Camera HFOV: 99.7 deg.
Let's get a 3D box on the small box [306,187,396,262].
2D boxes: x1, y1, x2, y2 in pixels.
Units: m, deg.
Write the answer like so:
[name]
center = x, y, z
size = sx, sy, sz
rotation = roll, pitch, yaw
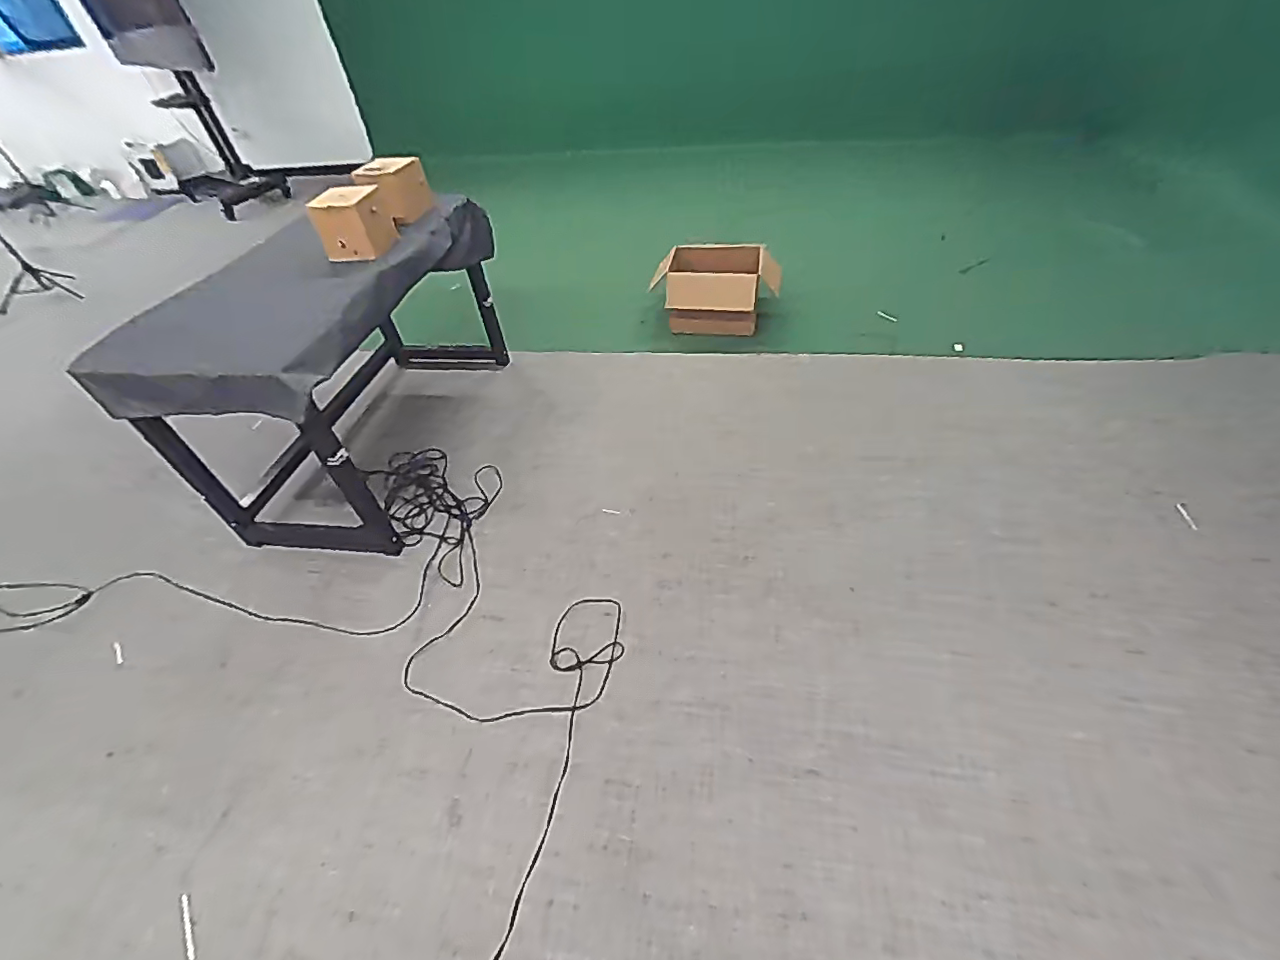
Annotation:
[small box]
center = -0.907, -0.812, 1.720
size = 0.168, 0.176, 0.179
rotation = 1, 46, 7
